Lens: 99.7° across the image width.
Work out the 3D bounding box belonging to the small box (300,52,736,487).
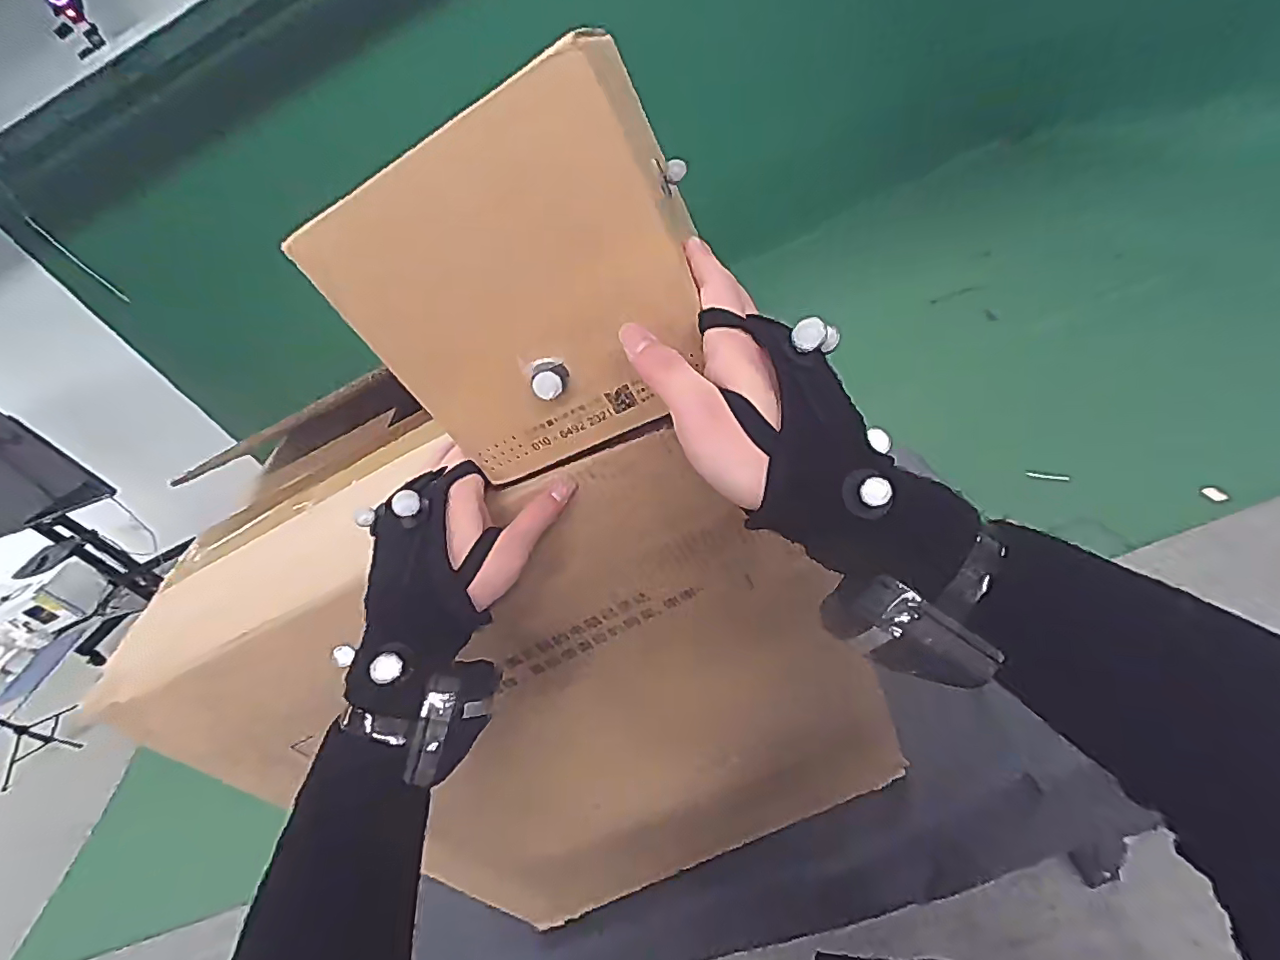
[{"bbox_3d":[-0.051,-0.127,0.340,0.168,0.176,0.179,-22,36,19],"label":"small box"}]
